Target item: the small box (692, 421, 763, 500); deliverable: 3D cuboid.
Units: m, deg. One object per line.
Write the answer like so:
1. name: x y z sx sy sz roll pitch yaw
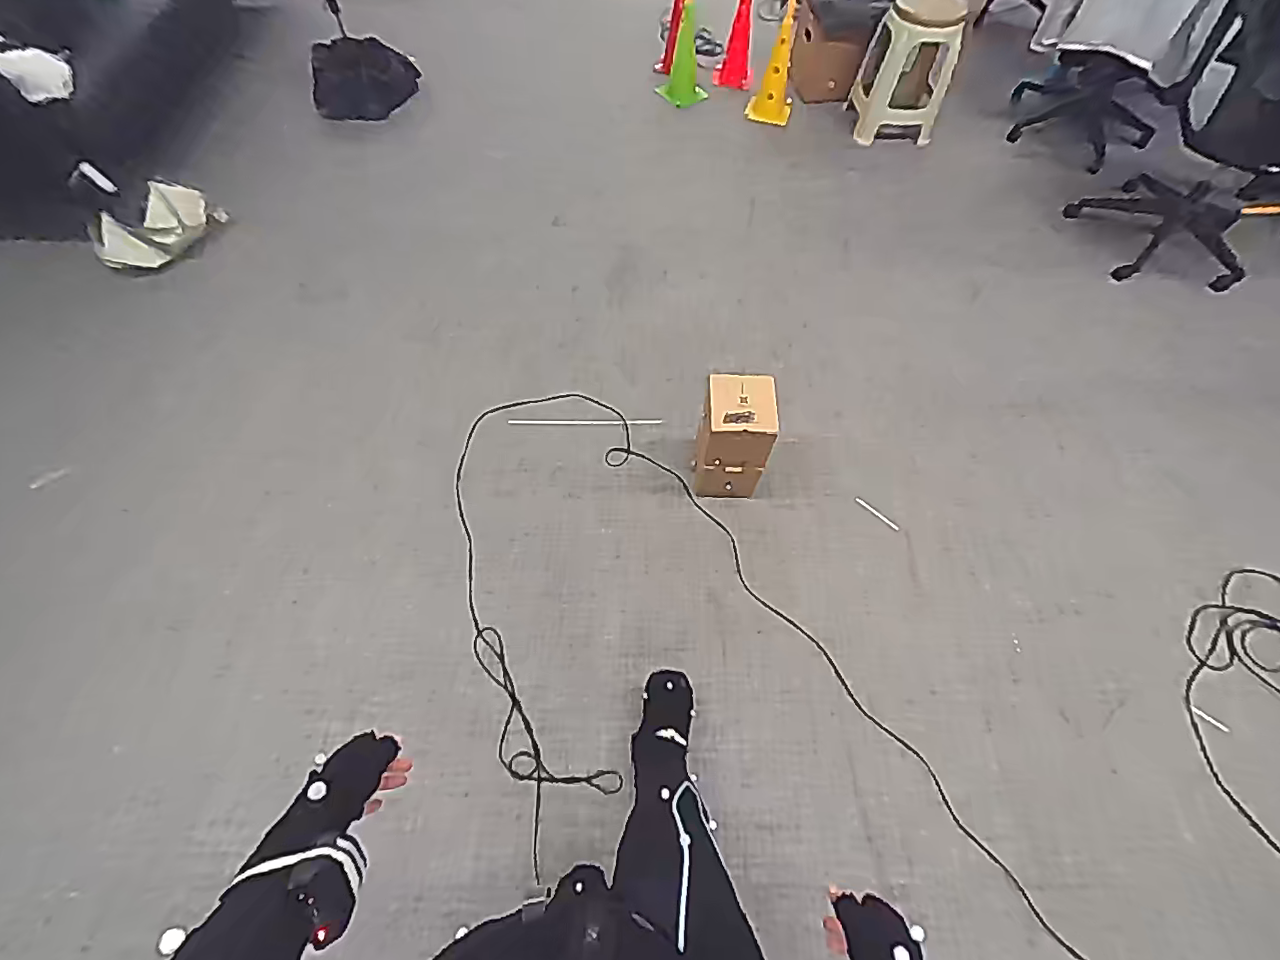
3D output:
1. small box: 0.245 -0.051 1.550 0.168 0.176 0.179 1 63 -4

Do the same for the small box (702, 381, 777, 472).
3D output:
1. small box: 0.252 -0.134 1.405 0.168 0.176 0.179 2 61 0
